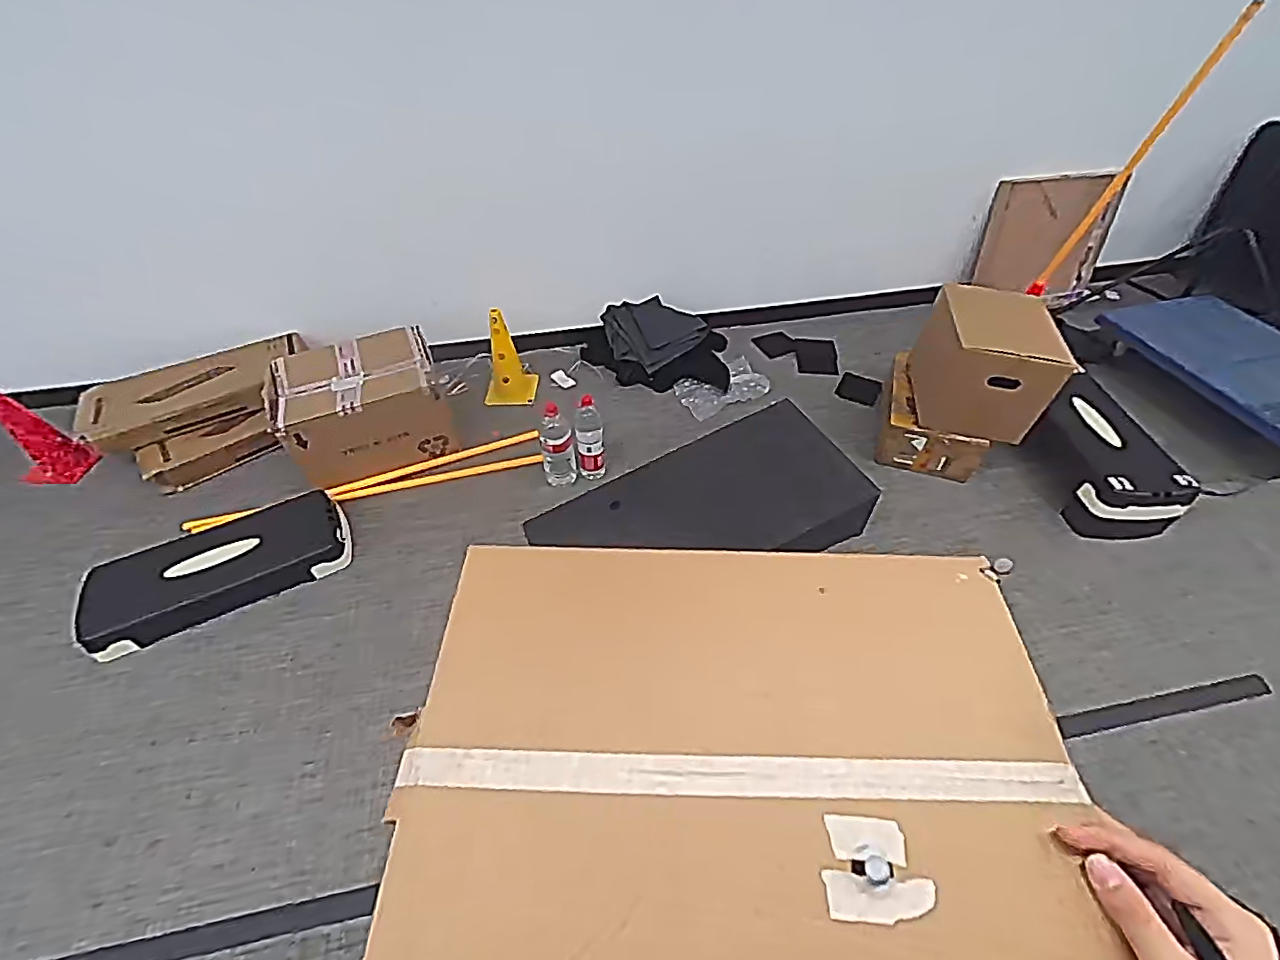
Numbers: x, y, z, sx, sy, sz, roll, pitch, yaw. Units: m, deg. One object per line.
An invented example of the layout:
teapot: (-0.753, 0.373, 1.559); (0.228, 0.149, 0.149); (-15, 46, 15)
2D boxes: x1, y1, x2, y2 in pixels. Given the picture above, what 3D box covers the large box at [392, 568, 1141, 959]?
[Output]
large box: (0.065, 0.284, 0.449); (0.408, 0.320, 0.320); (1, 53, 0)
